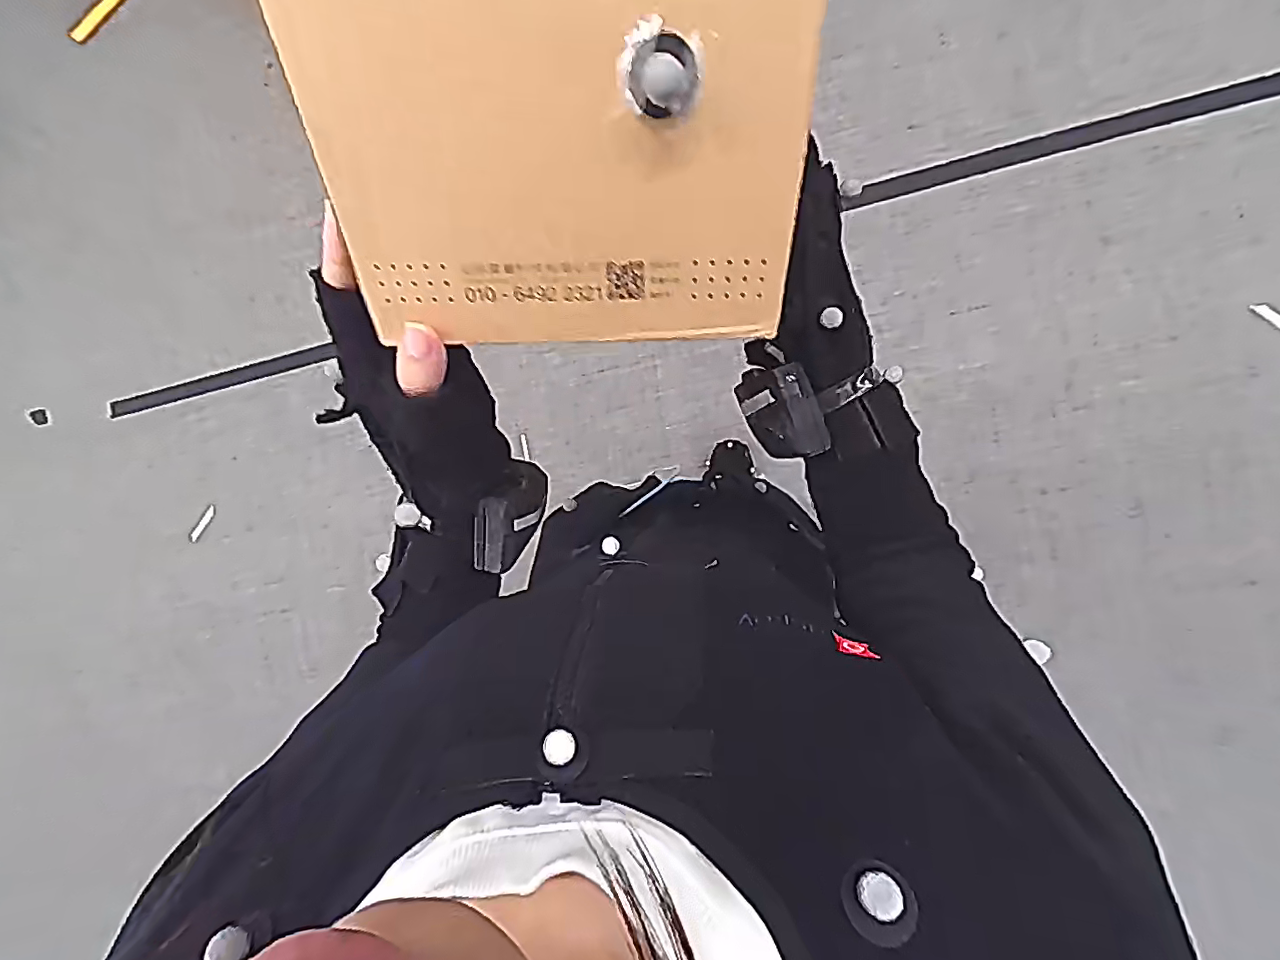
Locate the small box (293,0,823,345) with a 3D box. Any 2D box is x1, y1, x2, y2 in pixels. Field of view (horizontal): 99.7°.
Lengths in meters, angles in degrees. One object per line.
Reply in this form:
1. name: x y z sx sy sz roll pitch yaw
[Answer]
1. small box: -0.022 -0.172 0.242 0.168 0.179 0.176 0 131 1
